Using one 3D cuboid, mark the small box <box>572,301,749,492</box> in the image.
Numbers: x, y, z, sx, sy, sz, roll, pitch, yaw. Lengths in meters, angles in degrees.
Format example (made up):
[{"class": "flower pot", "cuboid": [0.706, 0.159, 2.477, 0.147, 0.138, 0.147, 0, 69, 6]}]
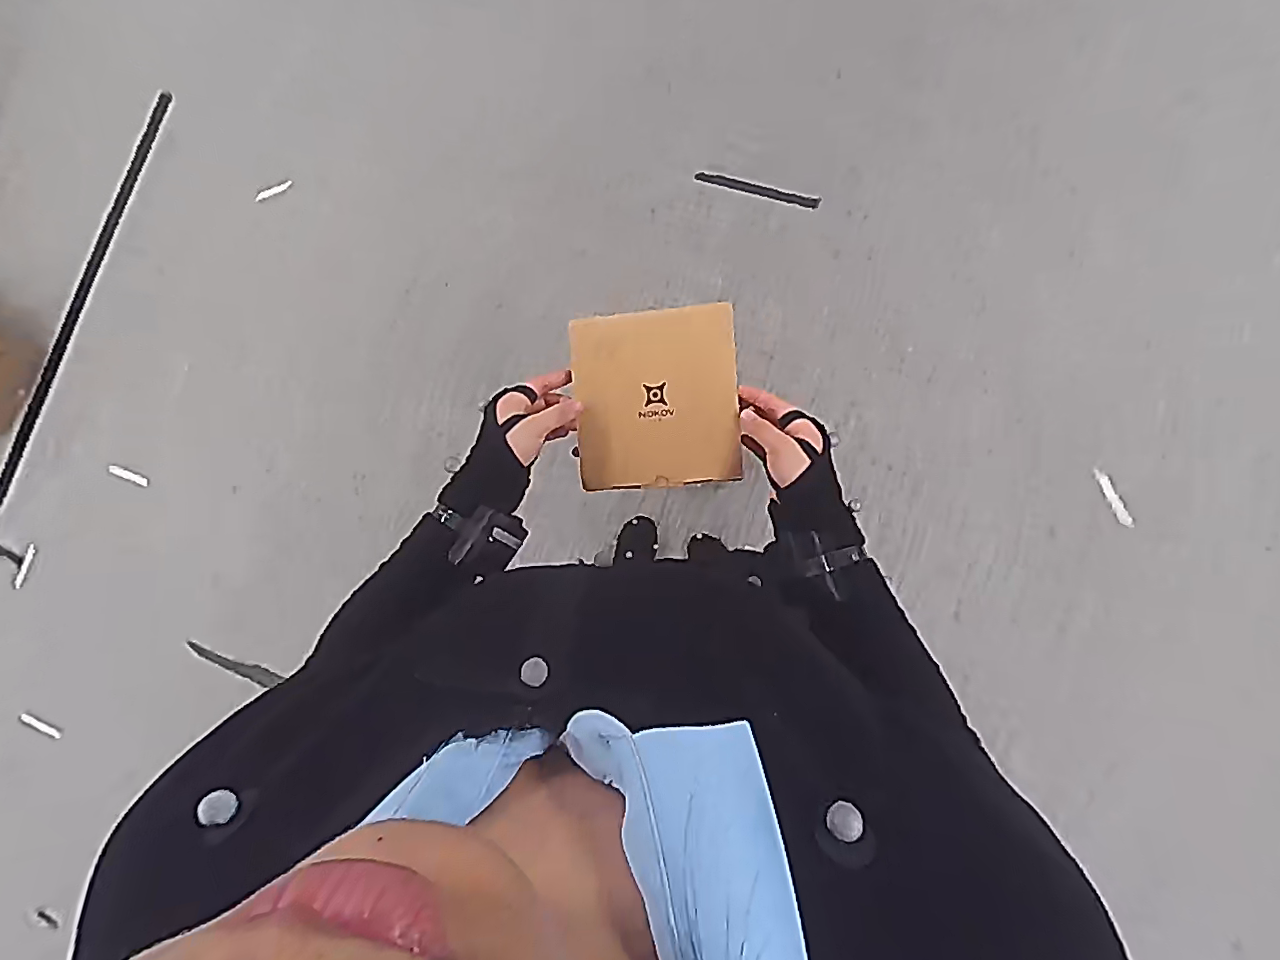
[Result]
[{"class": "small box", "cuboid": [0.027, -0.088, 0.612, 0.168, 0.176, 0.179, -5, 97, 6]}]
